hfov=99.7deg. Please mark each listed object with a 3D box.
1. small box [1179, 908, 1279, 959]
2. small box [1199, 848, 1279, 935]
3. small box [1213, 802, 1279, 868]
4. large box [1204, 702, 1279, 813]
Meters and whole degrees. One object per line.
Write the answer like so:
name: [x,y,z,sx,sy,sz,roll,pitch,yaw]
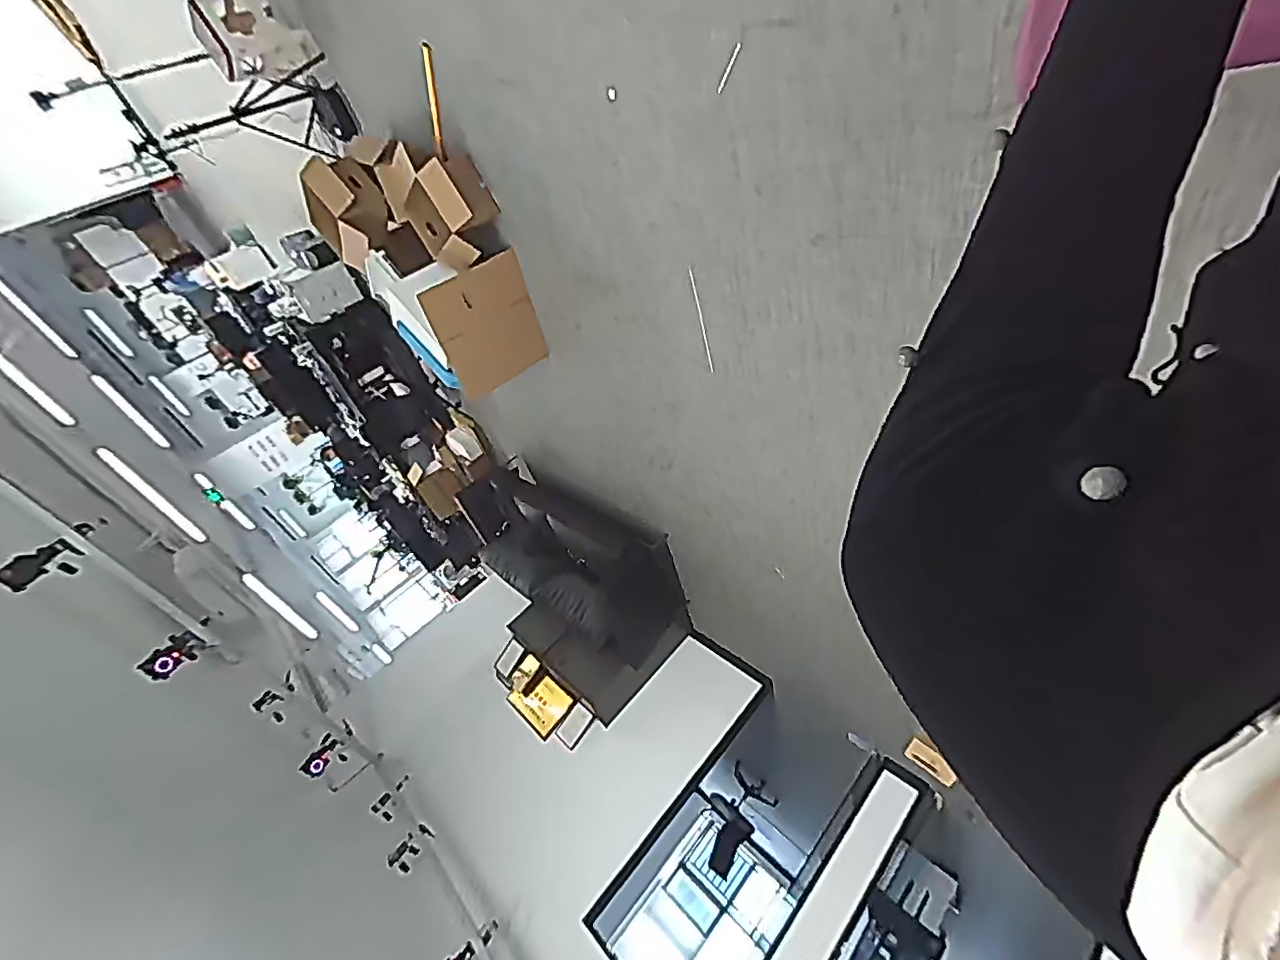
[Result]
small box: [1.440,1.170,1.278,0.168,0.176,0.179,54,152,-9]
small box: [1.556,1.078,1.347,0.179,0.176,0.168,55,153,-10]
small box: [1.672,0.989,1.417,0.168,0.176,0.179,54,154,-9]
large box: [1.890,0.858,1.464,0.320,0.320,0.408,53,153,-10]
